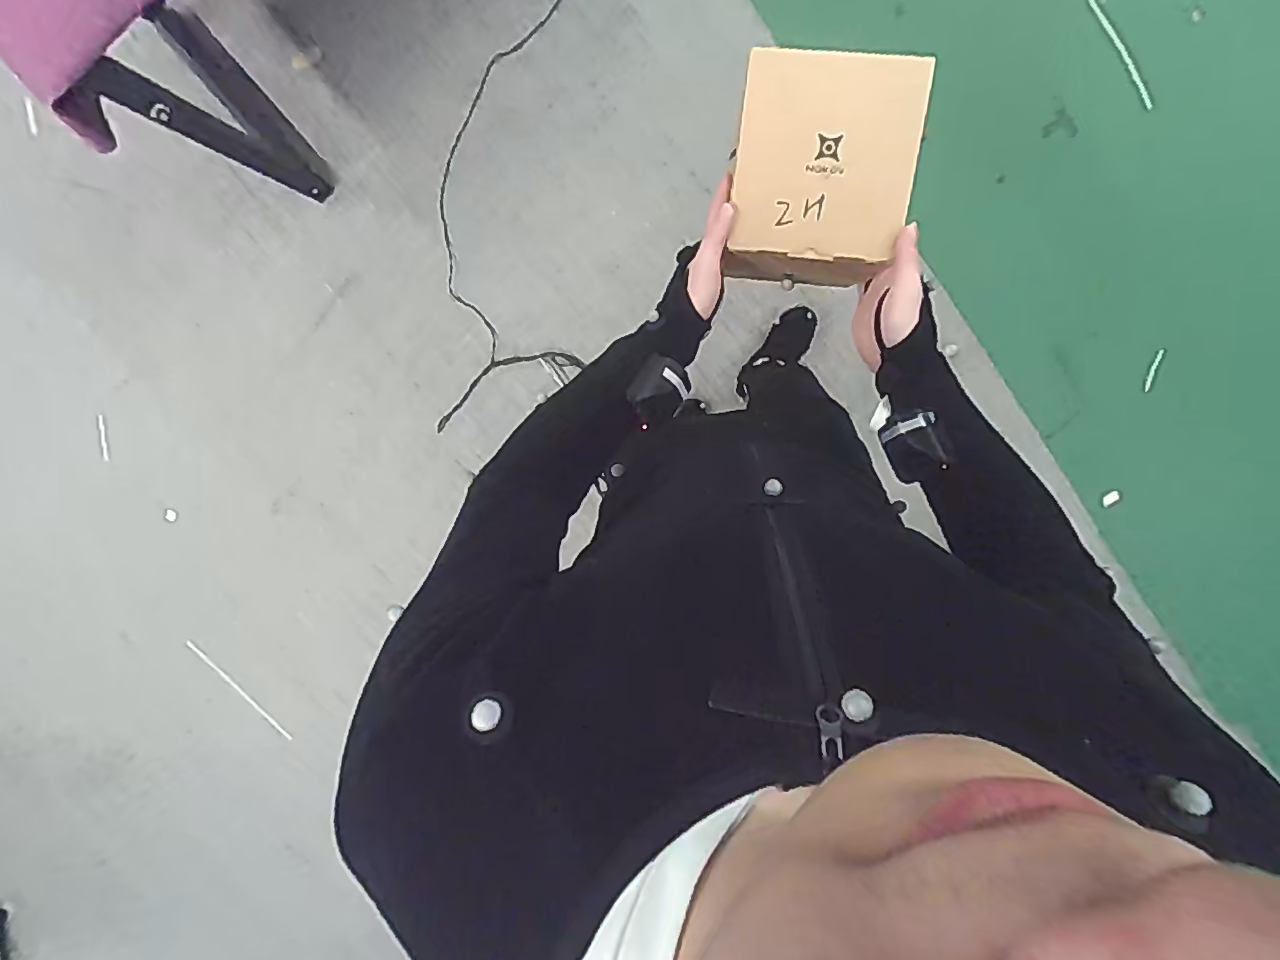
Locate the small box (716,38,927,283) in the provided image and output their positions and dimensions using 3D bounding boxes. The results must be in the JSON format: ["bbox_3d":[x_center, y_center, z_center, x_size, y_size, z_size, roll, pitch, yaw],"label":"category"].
[{"bbox_3d":[0.174,-0.322,0.579,0.168,0.176,0.179,7,102,4],"label":"small box"}]

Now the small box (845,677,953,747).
[{"bbox_3d":[0.595,0.576,1.221,0.168,0.176,0.179,-34,100,8],"label":"small box"}]
